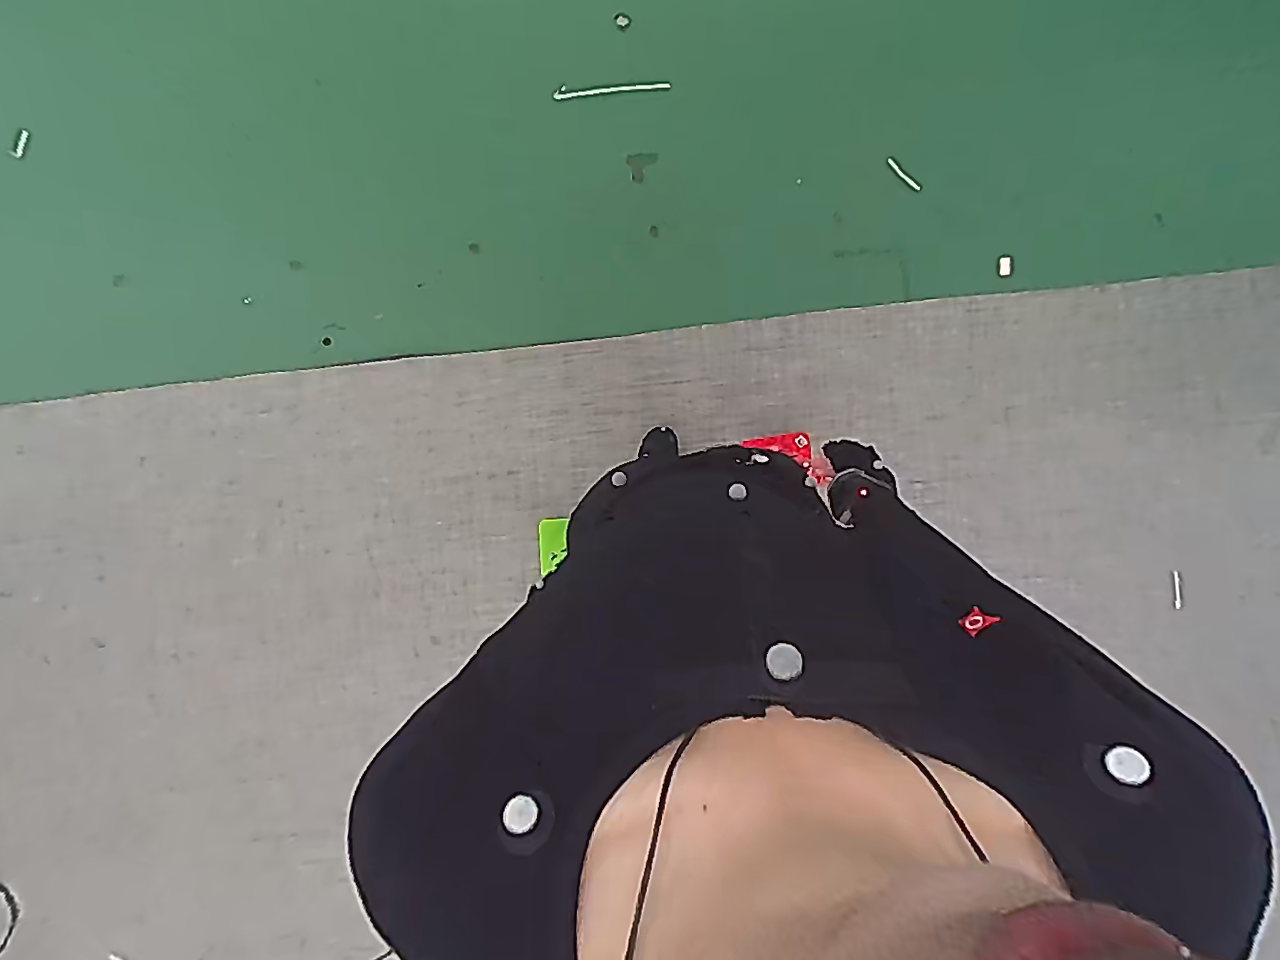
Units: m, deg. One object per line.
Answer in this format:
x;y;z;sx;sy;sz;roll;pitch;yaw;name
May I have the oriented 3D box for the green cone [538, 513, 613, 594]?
-0.180;0.208;1.336;0.200;0.368;0.202;-4;94;1;green cone
